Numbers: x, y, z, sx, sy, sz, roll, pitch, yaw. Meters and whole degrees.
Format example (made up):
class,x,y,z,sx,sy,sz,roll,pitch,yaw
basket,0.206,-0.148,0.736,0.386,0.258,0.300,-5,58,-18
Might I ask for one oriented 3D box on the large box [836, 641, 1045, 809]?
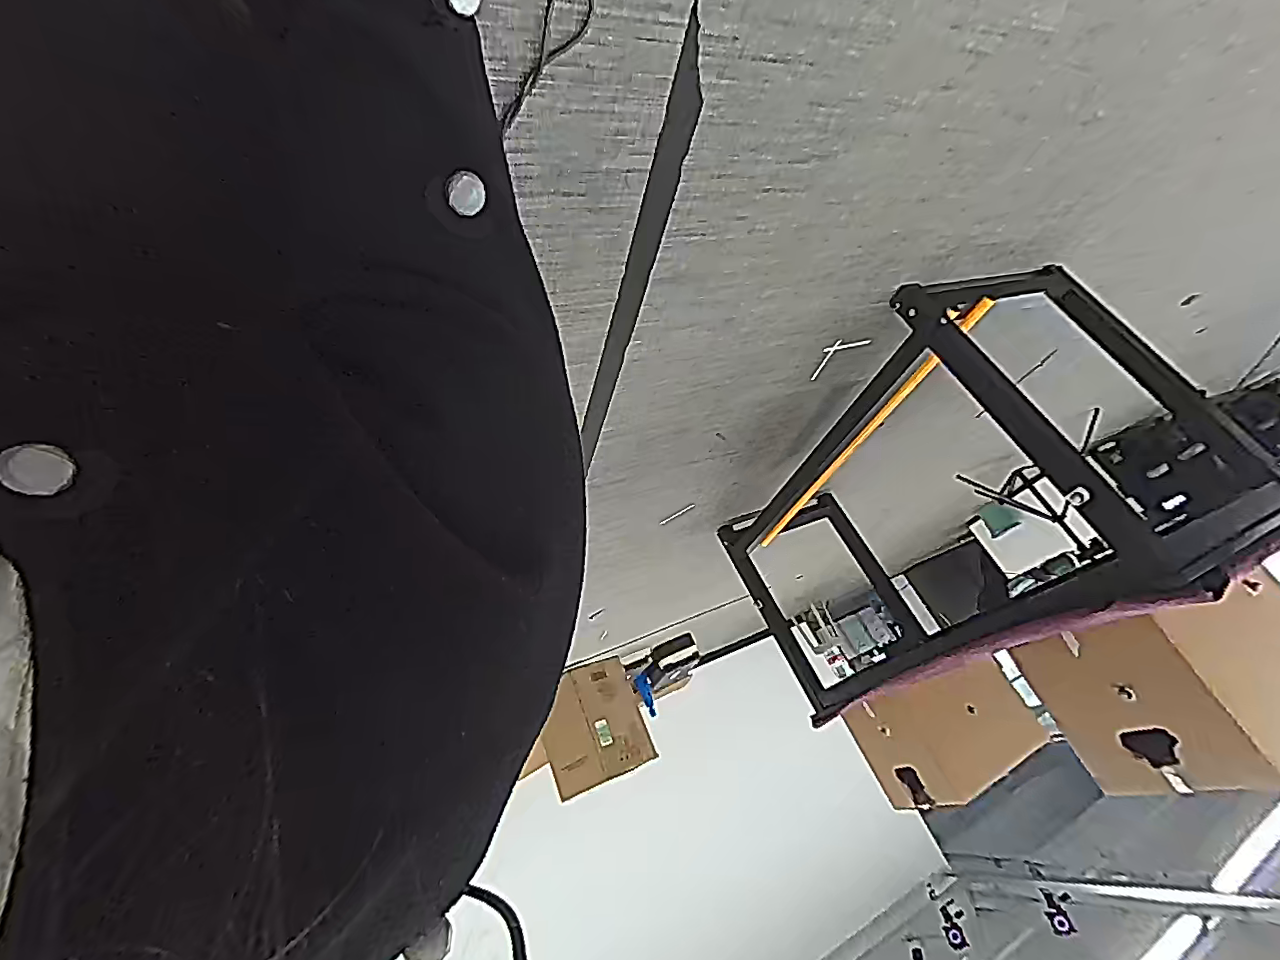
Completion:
class,x,y,z,sx,sy,sz,roll,pitch,yaw
large box,0.903,0.751,1.669,0.408,0.320,0.320,-16,153,-25
